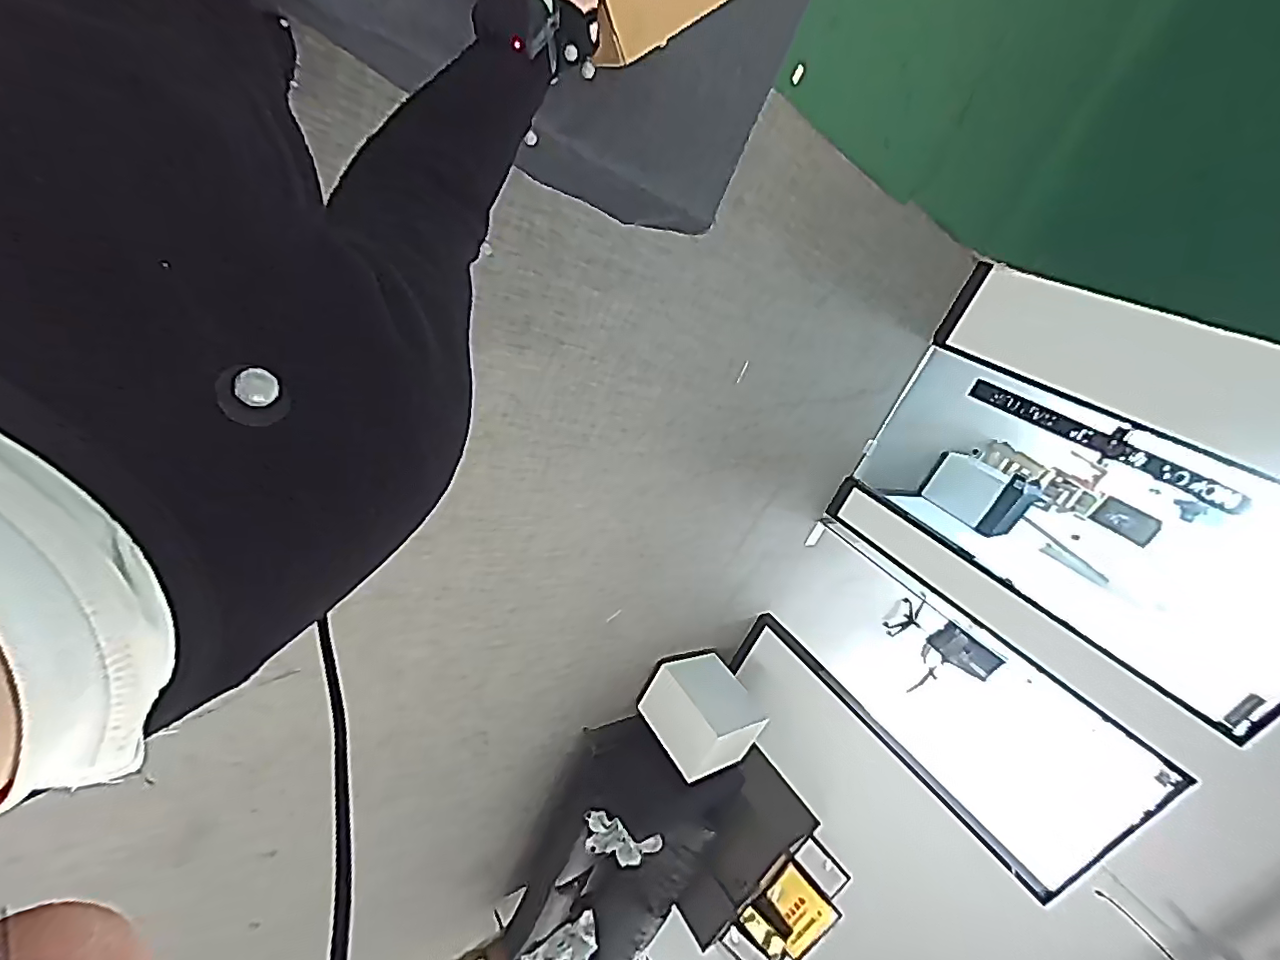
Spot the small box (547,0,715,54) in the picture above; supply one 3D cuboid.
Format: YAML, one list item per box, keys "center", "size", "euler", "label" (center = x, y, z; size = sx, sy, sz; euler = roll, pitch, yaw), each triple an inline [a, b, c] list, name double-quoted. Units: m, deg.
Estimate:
- center: [-0.018, -0.613, 0.603]
  size: [0.179, 0.176, 0.168]
  euler: [-39, 141, -8]
  label: "small box"
